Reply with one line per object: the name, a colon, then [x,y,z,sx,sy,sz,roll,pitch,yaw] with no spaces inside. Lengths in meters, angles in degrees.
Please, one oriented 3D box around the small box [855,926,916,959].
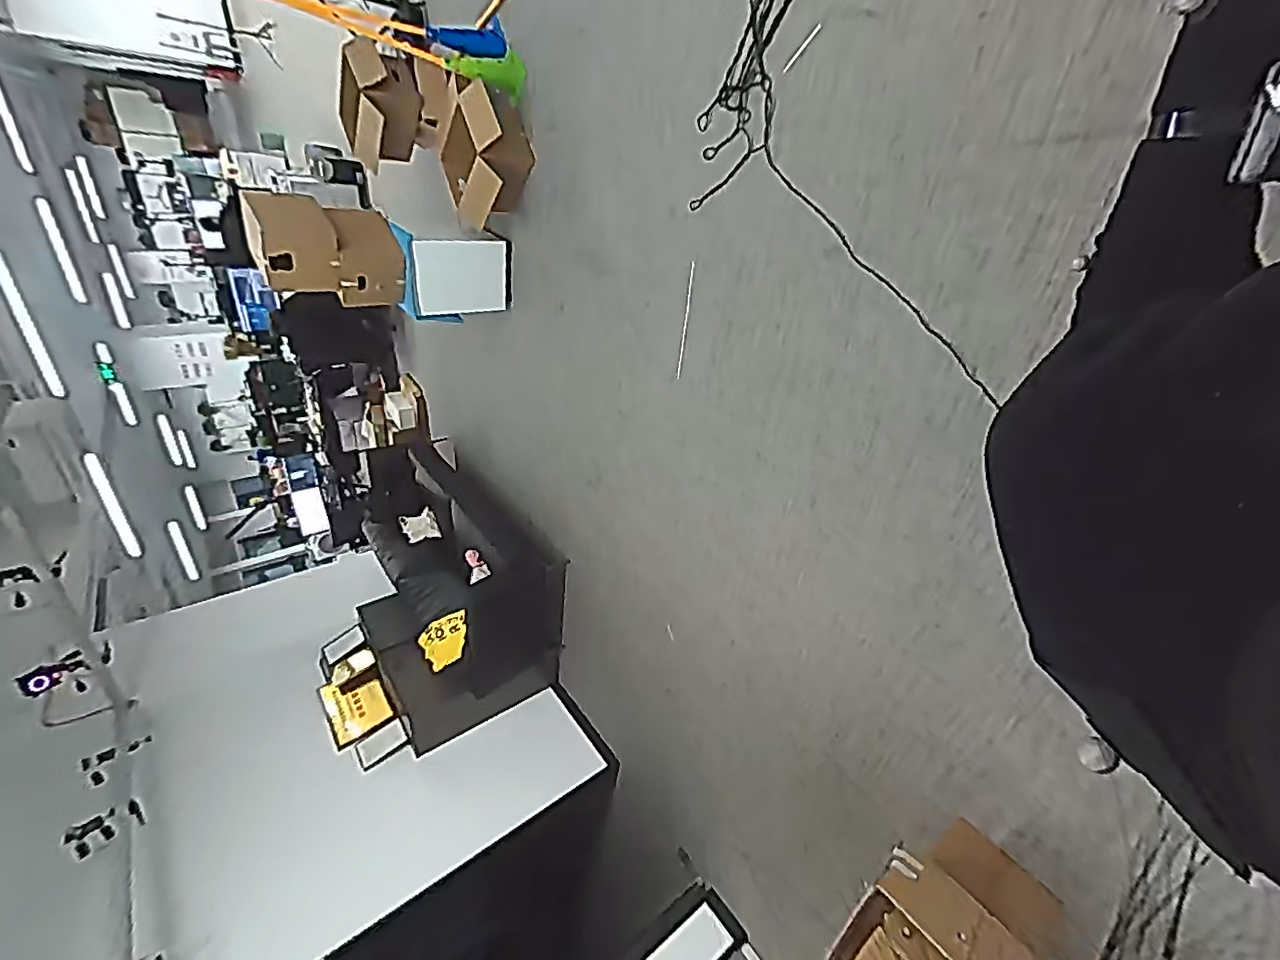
small box: [0.582,1.220,1.279,0.168,0.176,0.179,33,129,42]
